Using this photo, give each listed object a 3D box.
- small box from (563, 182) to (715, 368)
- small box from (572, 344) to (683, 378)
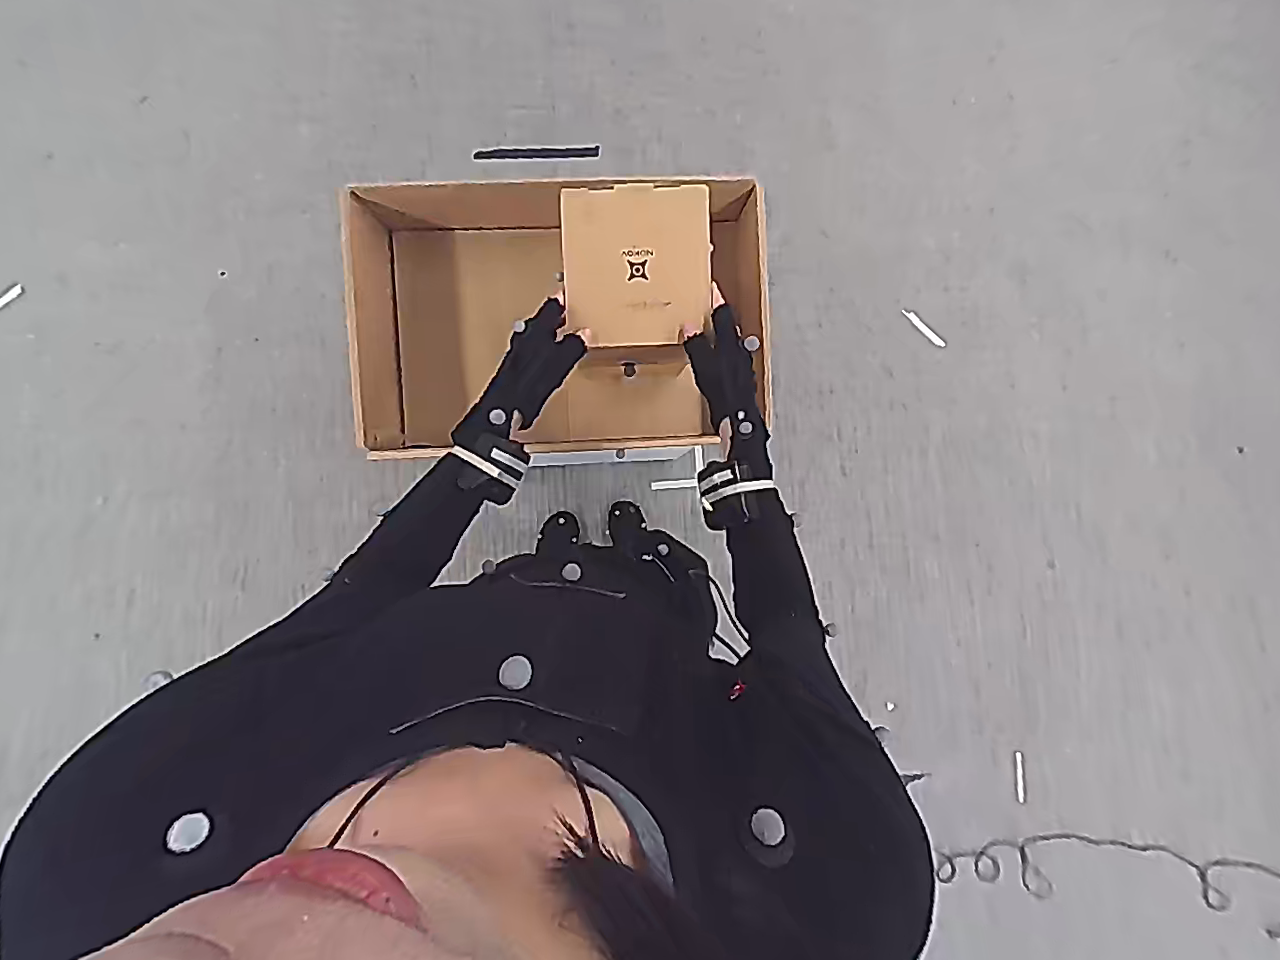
[{"bbox_3d":[-0.003,-0.241,0.674,0.168,0.176,0.179,-3,95,-1],"label":"small box"},{"bbox_3d":[-0.017,-0.257,0.852,0.179,0.176,0.168,-3,92,-2],"label":"small box"}]
